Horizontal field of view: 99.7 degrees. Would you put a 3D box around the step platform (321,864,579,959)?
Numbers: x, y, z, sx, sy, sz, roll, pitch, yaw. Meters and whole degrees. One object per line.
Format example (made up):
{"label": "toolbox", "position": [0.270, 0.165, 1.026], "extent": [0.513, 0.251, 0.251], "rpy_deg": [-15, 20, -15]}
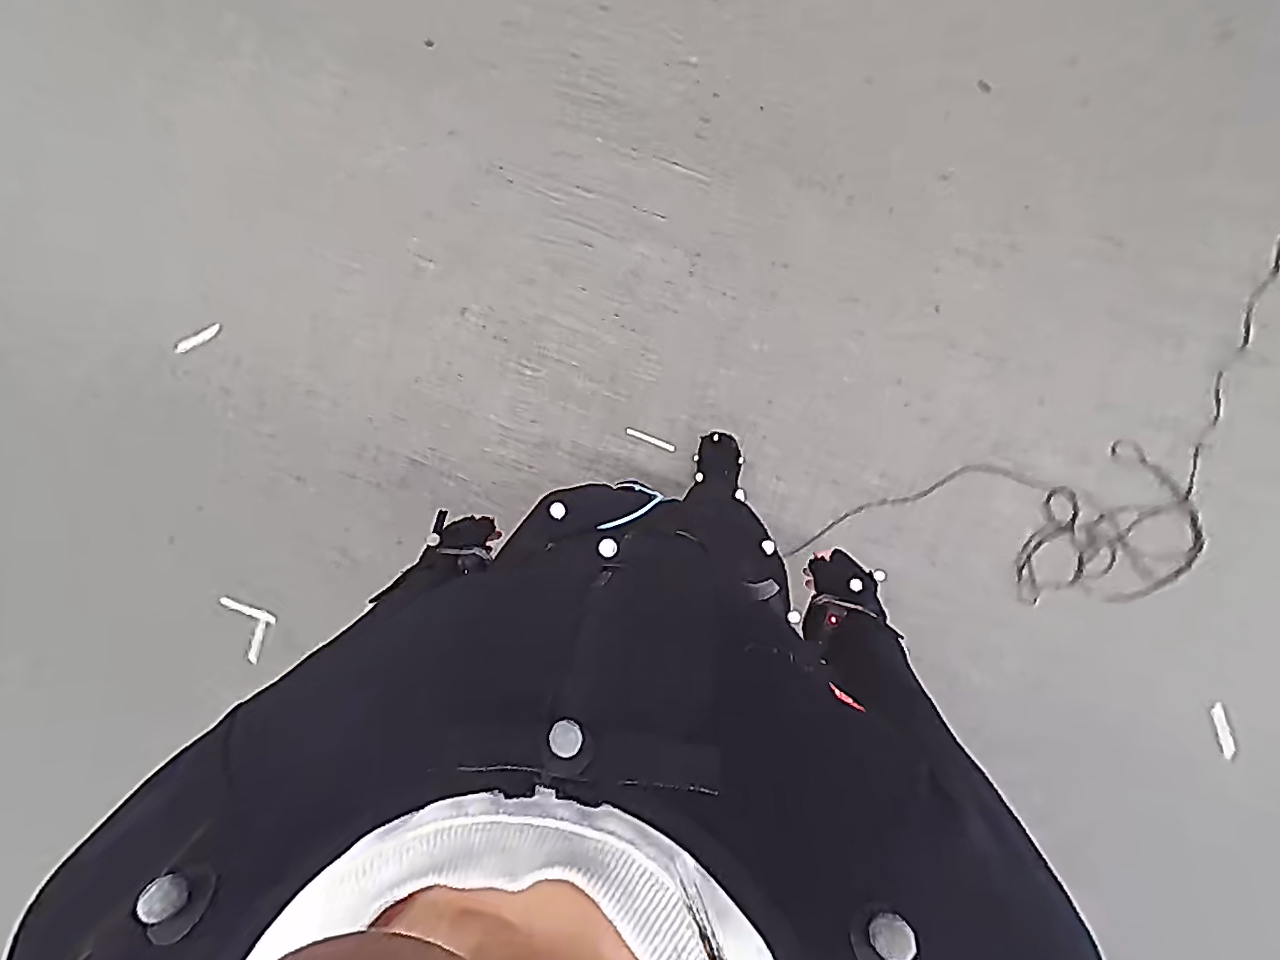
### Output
{"label": "step platform", "position": [-0.525, 1.369, 1.492], "extent": [0.684, 0.204, 0.286], "rpy_deg": [21, 95, 5]}
